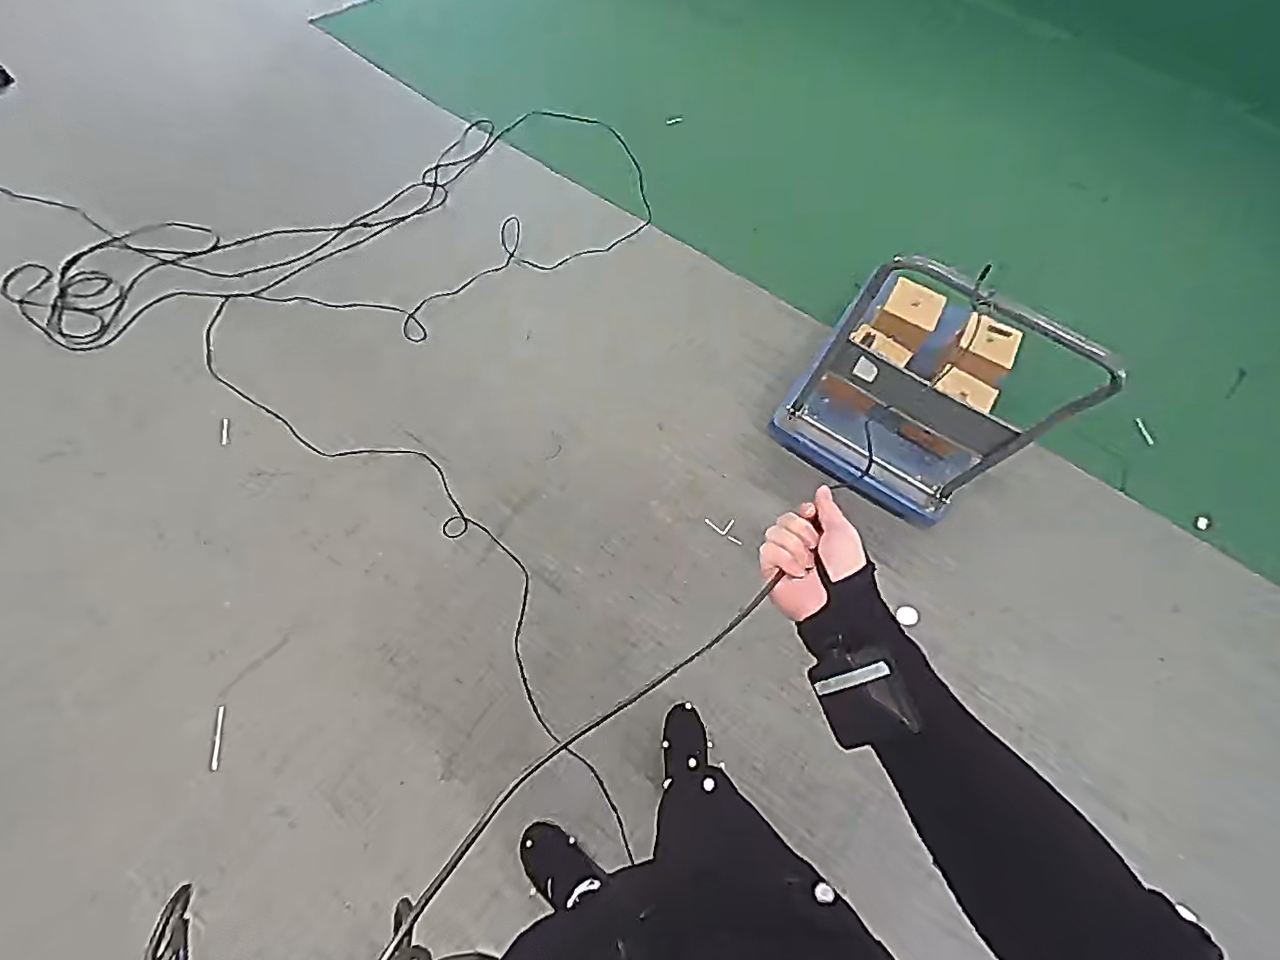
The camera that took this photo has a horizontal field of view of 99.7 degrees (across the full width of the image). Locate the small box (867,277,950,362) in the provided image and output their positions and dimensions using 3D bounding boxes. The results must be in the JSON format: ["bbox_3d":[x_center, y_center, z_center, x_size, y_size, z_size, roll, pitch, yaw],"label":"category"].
[{"bbox_3d":[0.876,-0.523,1.780,0.168,0.176,0.179,31,65,9],"label":"small box"}]

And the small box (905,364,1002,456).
[{"bbox_3d":[0.936,-0.207,1.629,0.168,0.176,0.179,35,66,11],"label":"small box"}]

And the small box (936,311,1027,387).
[{"bbox_3d":[1.091,-0.400,1.739,0.168,0.176,0.179,30,66,10],"label":"small box"}]
